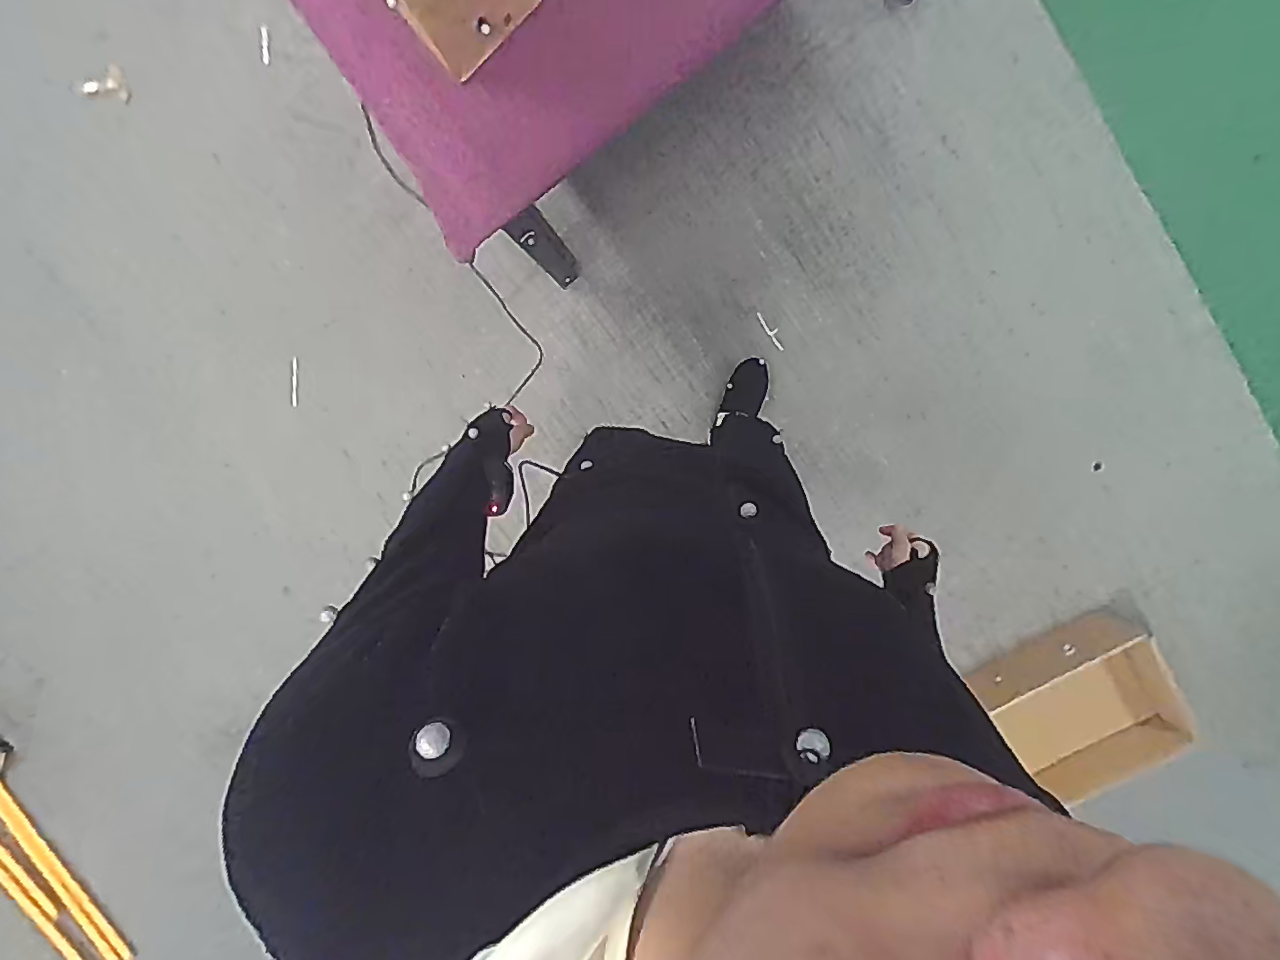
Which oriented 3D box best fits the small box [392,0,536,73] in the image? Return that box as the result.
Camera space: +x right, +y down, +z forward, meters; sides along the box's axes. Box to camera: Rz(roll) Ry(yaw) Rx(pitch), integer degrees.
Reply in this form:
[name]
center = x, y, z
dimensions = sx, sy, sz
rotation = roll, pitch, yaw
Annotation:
[small box]
center = -0.257, -0.677, 0.680
dimensions = 0.168, 0.176, 0.179
rotation = -40, 97, 8
